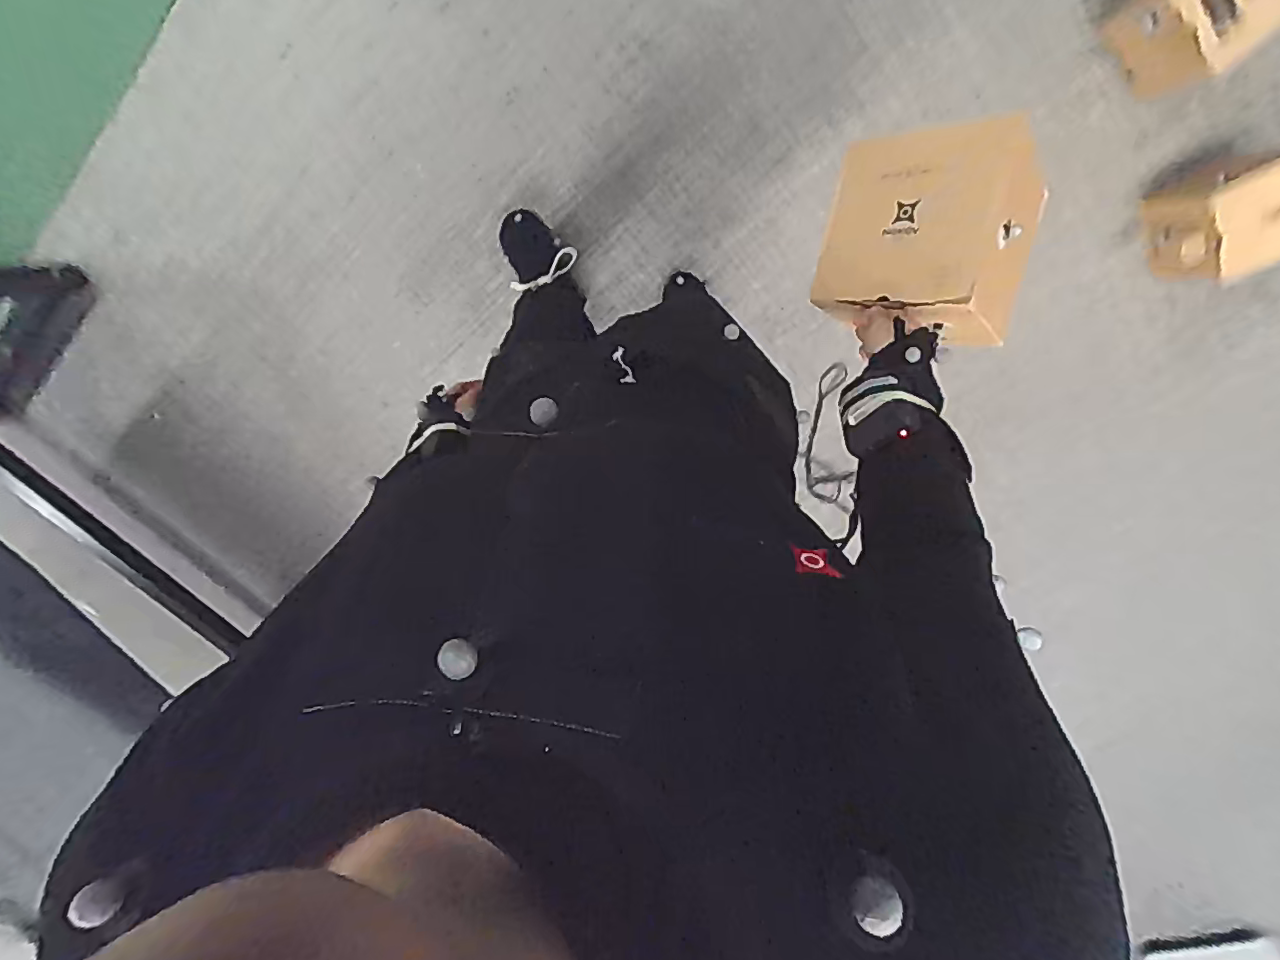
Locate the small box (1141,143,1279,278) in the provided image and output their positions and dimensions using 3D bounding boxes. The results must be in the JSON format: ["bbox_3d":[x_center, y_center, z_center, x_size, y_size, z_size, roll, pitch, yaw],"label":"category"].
[{"bbox_3d":[1.097,-0.499,1.000,0.179,0.176,0.168,-26,109,15],"label":"small box"}]

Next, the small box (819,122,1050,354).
[{"bbox_3d":[0.328,-0.247,0.597,0.168,0.176,0.179,19,99,41],"label":"small box"}]
